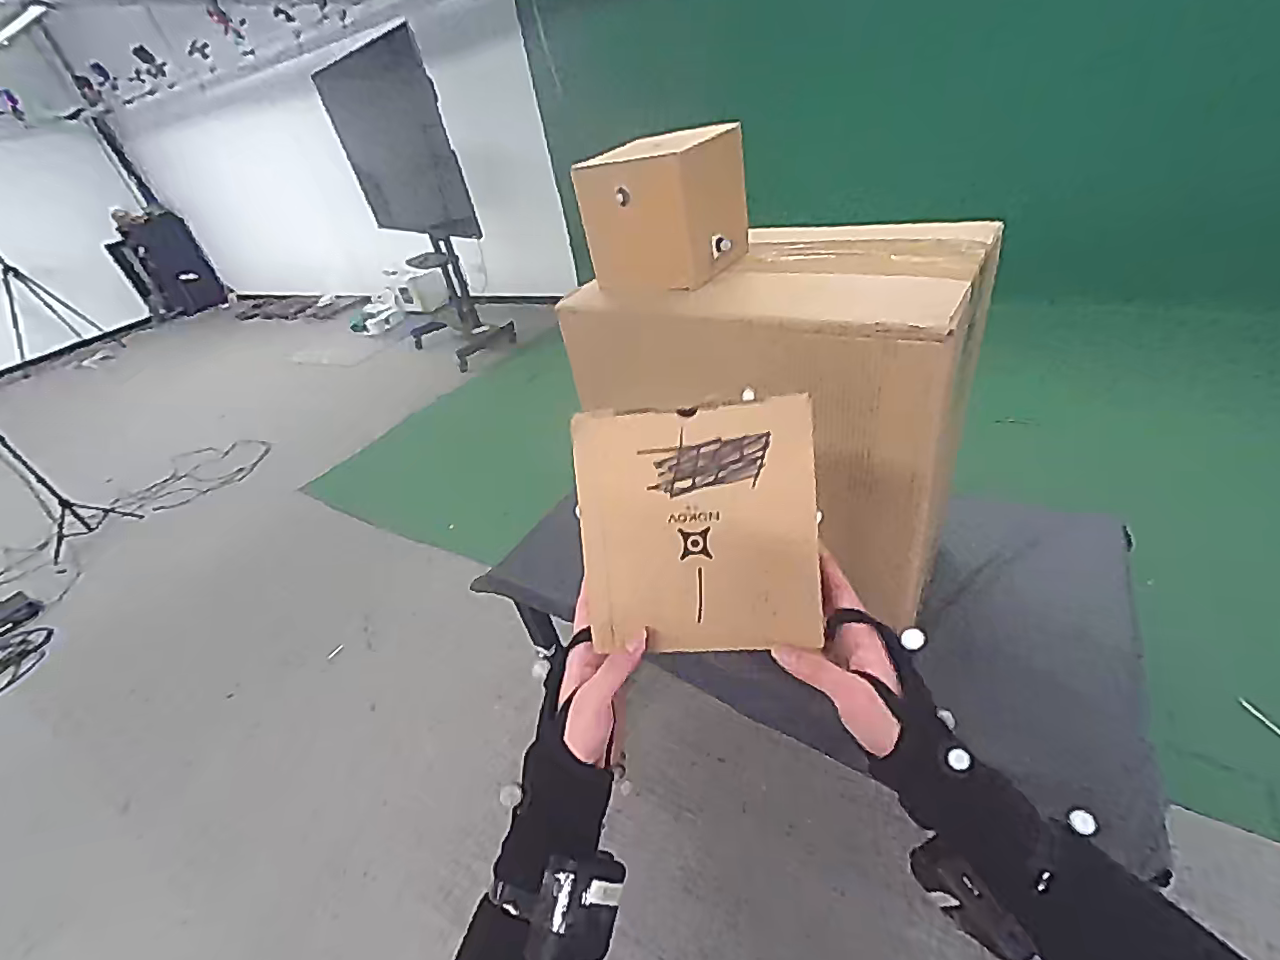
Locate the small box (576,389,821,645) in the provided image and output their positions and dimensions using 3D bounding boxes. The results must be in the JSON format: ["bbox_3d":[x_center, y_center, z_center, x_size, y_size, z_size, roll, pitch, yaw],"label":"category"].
[{"bbox_3d":[0.049,0.021,0.453,0.168,0.179,0.176,-3,7,8],"label":"small box"}]

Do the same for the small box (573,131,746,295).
[{"bbox_3d":[0.037,-0.377,0.772,0.179,0.176,0.168,16,47,32],"label":"small box"}]
